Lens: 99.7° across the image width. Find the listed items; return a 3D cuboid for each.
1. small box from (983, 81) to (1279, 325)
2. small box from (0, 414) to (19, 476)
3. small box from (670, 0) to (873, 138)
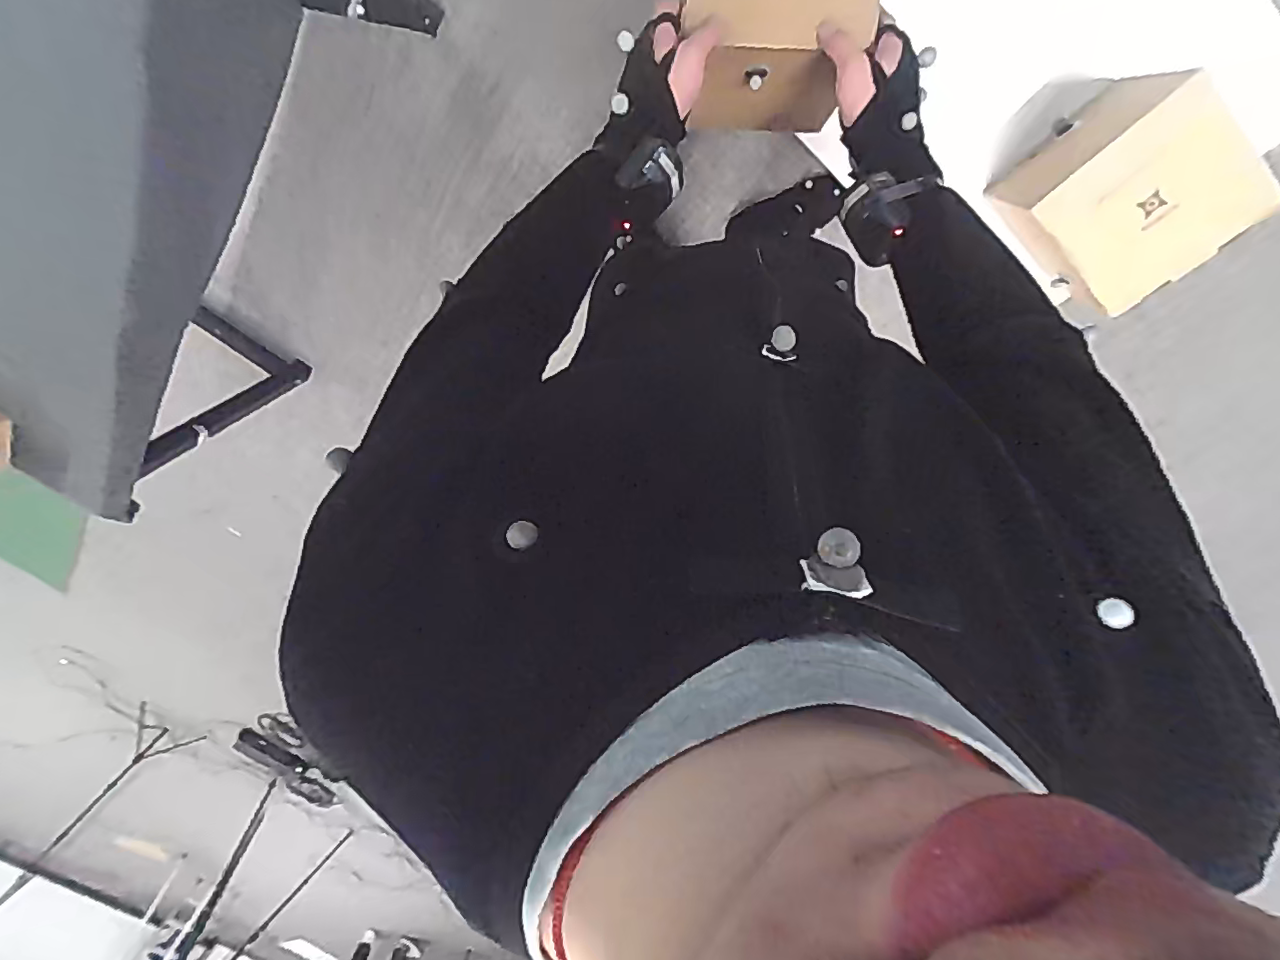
[{"bbox_3d":[0.549,-0.320,0.631,0.179,0.176,0.168,40,122,-12],"label":"small box"},{"bbox_3d":[-1.440,-0.082,1.102,0.168,0.176,0.179,39,122,-13],"label":"small box"},{"bbox_3d":[0.122,-0.471,0.547,0.179,0.176,0.168,3,101,1],"label":"small box"}]
